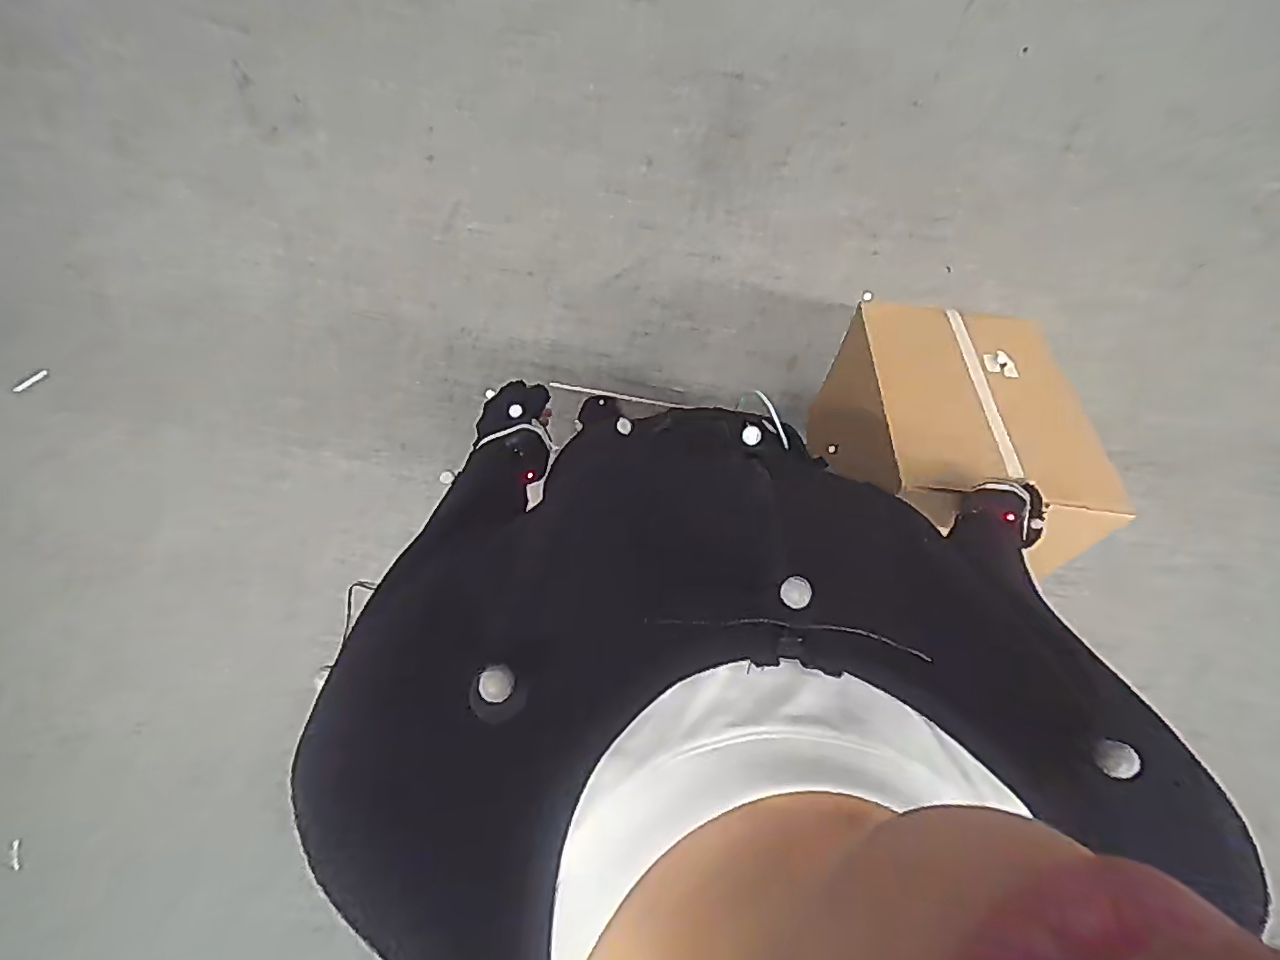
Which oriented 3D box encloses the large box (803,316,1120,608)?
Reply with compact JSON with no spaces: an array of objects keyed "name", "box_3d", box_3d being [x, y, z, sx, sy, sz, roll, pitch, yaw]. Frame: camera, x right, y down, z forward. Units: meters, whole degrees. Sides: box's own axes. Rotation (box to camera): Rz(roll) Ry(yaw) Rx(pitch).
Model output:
[{"name":"large box","box_3d":[0.501,-0.030,0.960,0.320,0.408,0.320,8,141,0]}]
